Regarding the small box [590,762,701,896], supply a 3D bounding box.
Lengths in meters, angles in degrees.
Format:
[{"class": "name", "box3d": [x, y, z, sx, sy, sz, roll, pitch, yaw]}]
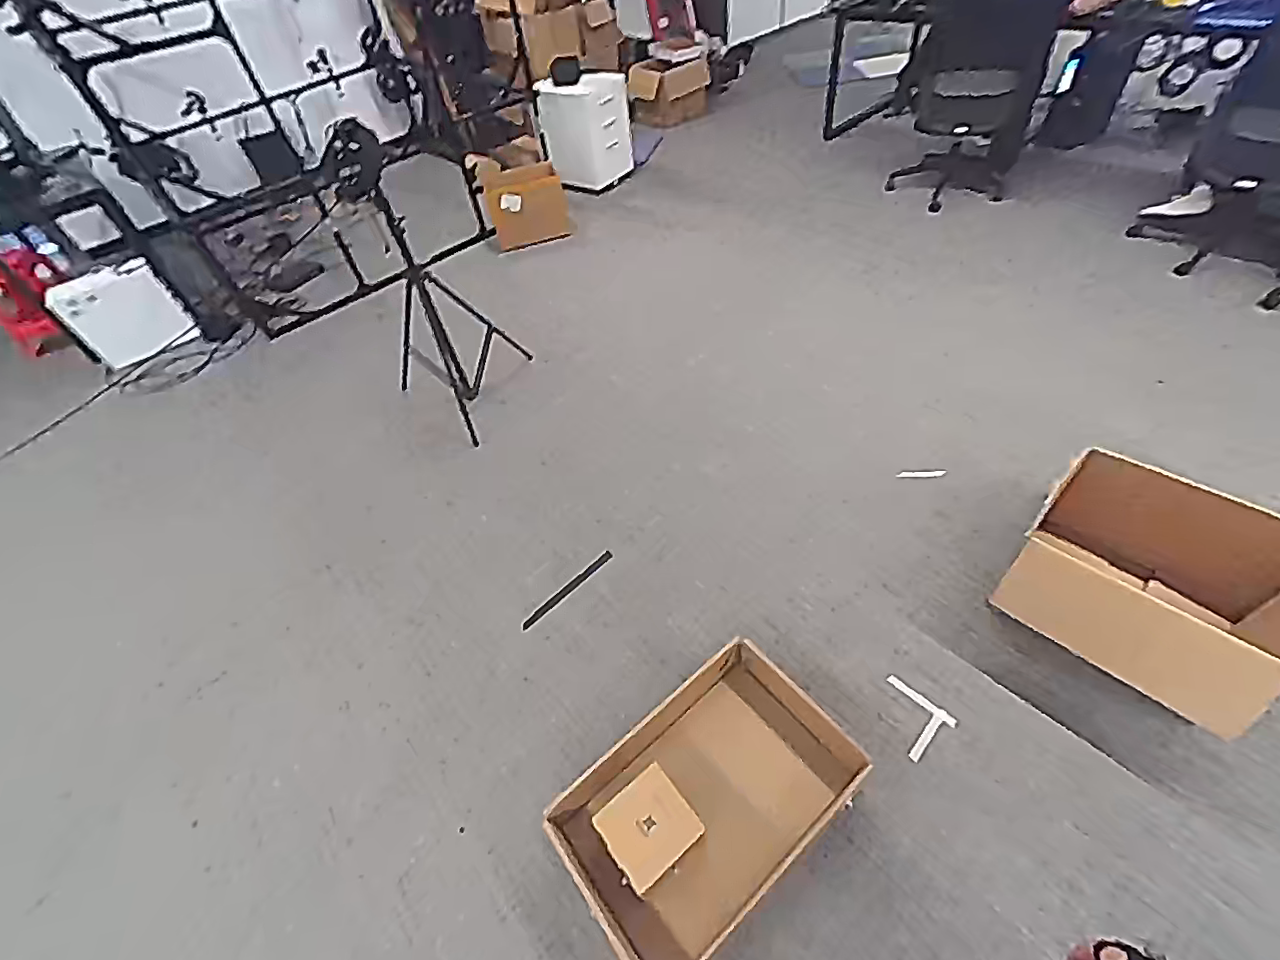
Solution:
[{"class": "small box", "box3d": [0.017, 0.756, 1.167, 0.179, 0.176, 0.168, -33, 55, -22]}]
